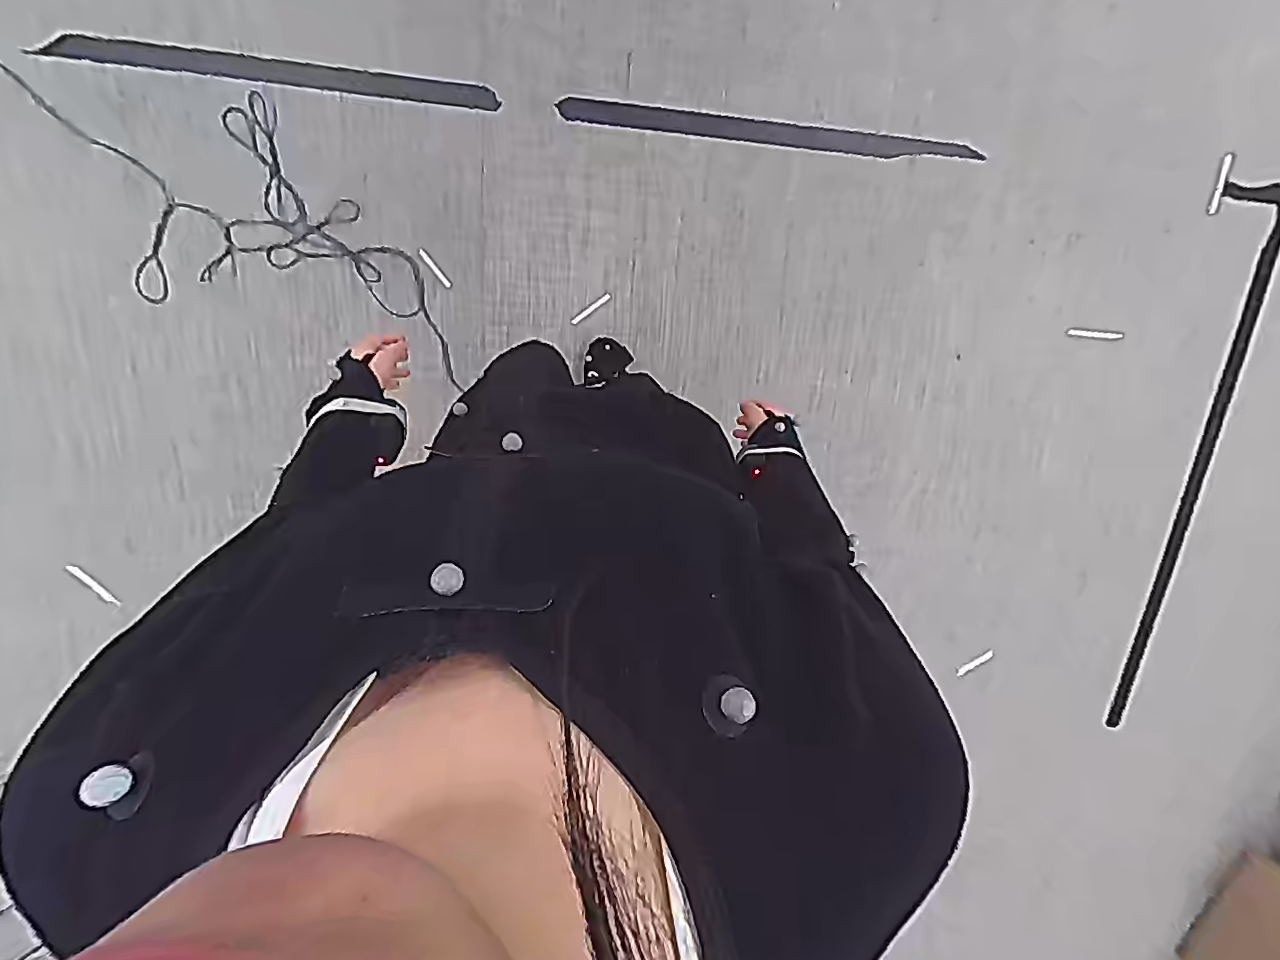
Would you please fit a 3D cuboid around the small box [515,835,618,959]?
[{"bbox_3d":[-0.137,0.806,1.011,0.168,0.176,0.179,9,104,-4],"label":"small box"}]
